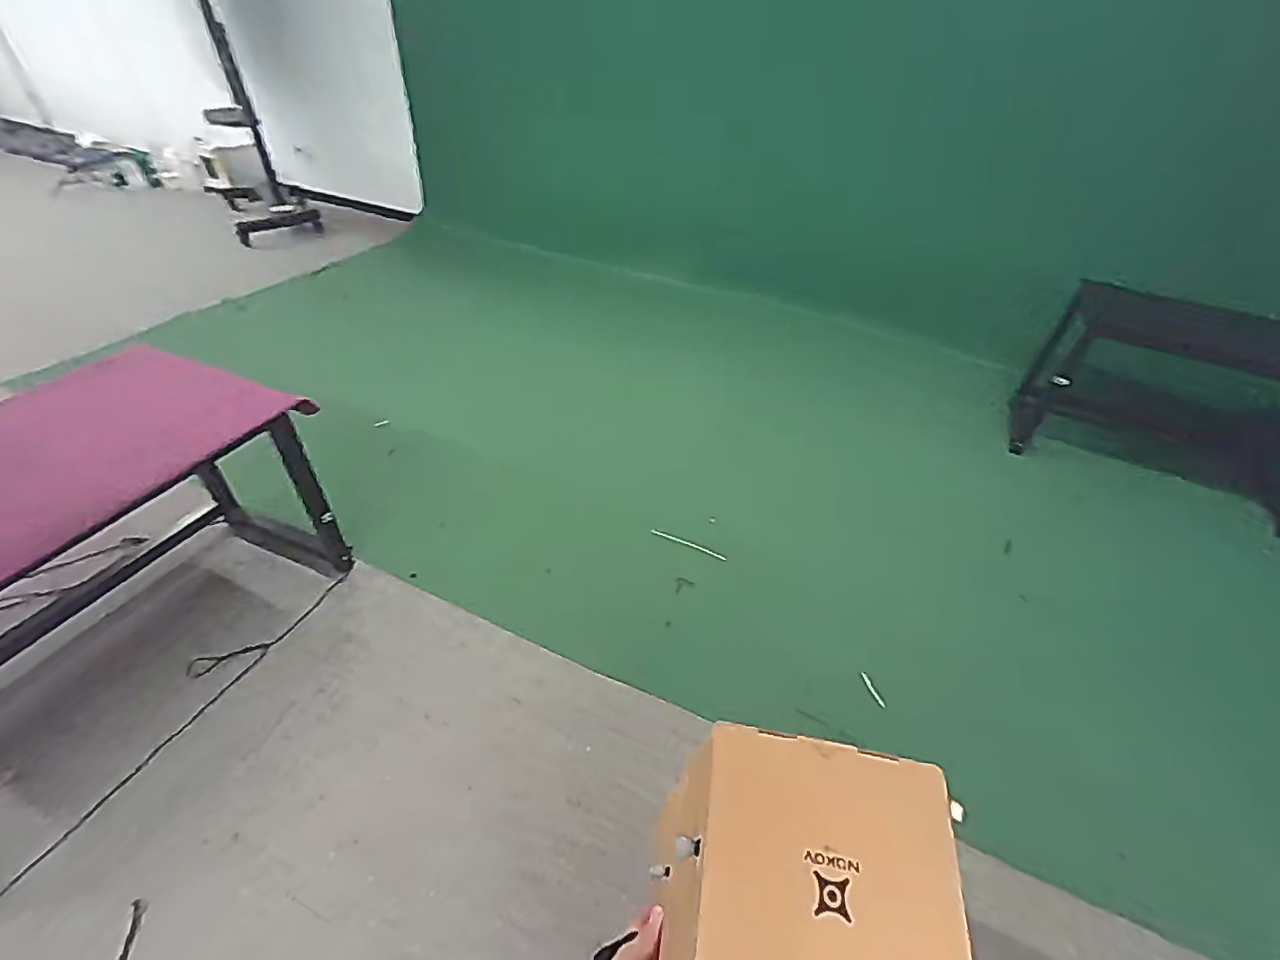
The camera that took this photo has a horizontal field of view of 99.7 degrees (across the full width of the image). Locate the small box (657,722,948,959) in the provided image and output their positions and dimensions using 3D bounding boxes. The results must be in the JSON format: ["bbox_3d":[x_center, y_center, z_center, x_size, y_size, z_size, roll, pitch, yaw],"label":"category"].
[{"bbox_3d":[0.107,0.312,0.408,0.168,0.176,0.179,10,50,5],"label":"small box"}]

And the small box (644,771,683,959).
[{"bbox_3d":[0.097,0.415,0.533,0.168,0.176,0.179,9,51,4],"label":"small box"}]
